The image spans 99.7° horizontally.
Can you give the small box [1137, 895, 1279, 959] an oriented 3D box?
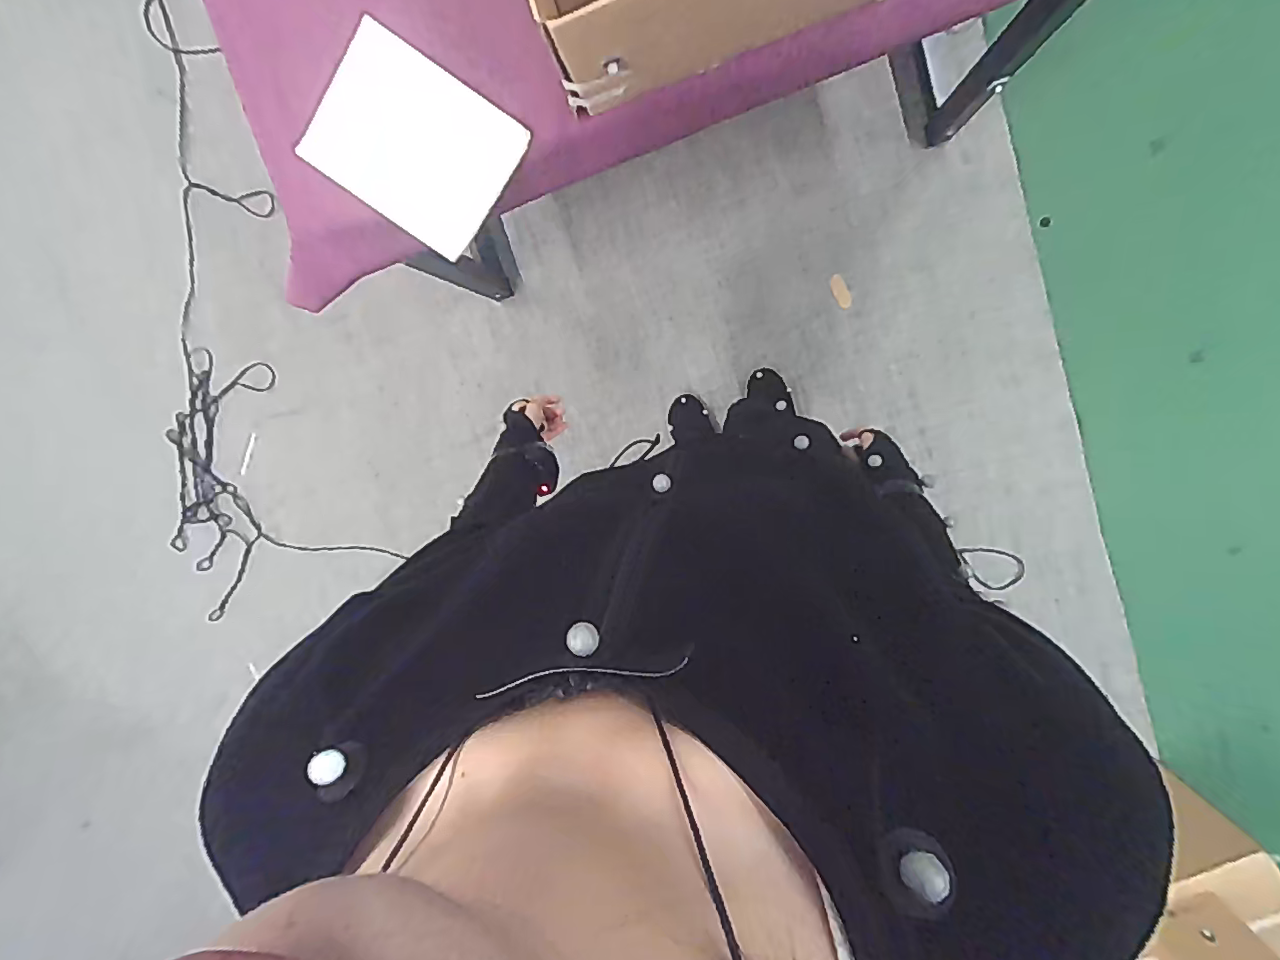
[{"bbox_3d":[1.213,1.023,1.138,0.168,0.176,0.179,-26,95,11],"label":"small box"}]
